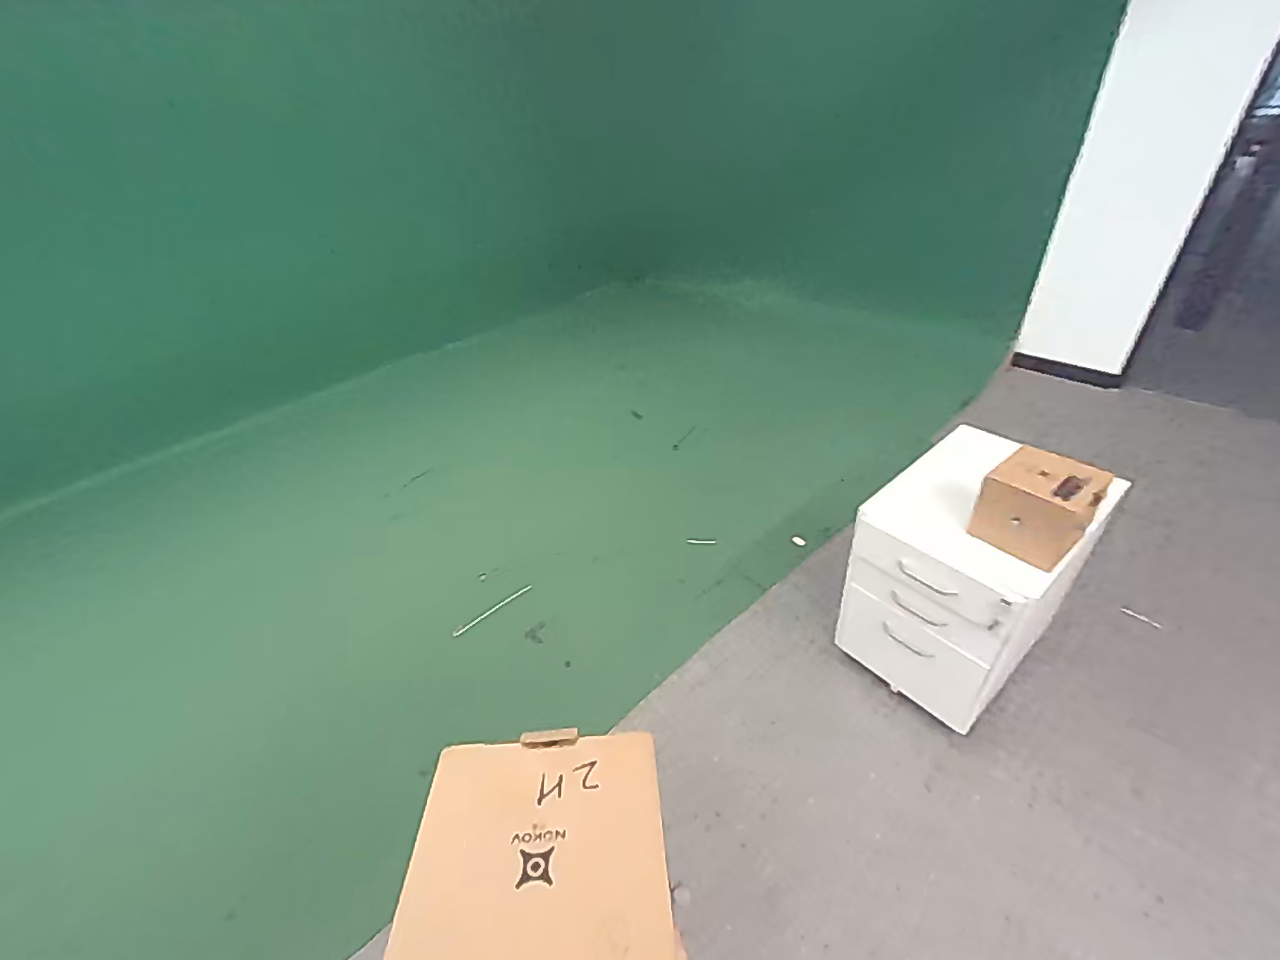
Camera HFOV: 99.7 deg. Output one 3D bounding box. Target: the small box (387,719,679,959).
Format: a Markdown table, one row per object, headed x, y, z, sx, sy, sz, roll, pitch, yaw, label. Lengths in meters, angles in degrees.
| x | y | z | sx | sy | sz | roll | pitch | yaw | label |
| --- | --- | --- | --- | --- | --- | --- | --- | --- | --- |
| -0.060 | 0.306 | 0.391 | 0.168 | 0.176 | 0.179 | -2 | 27 | -3 | small box |
